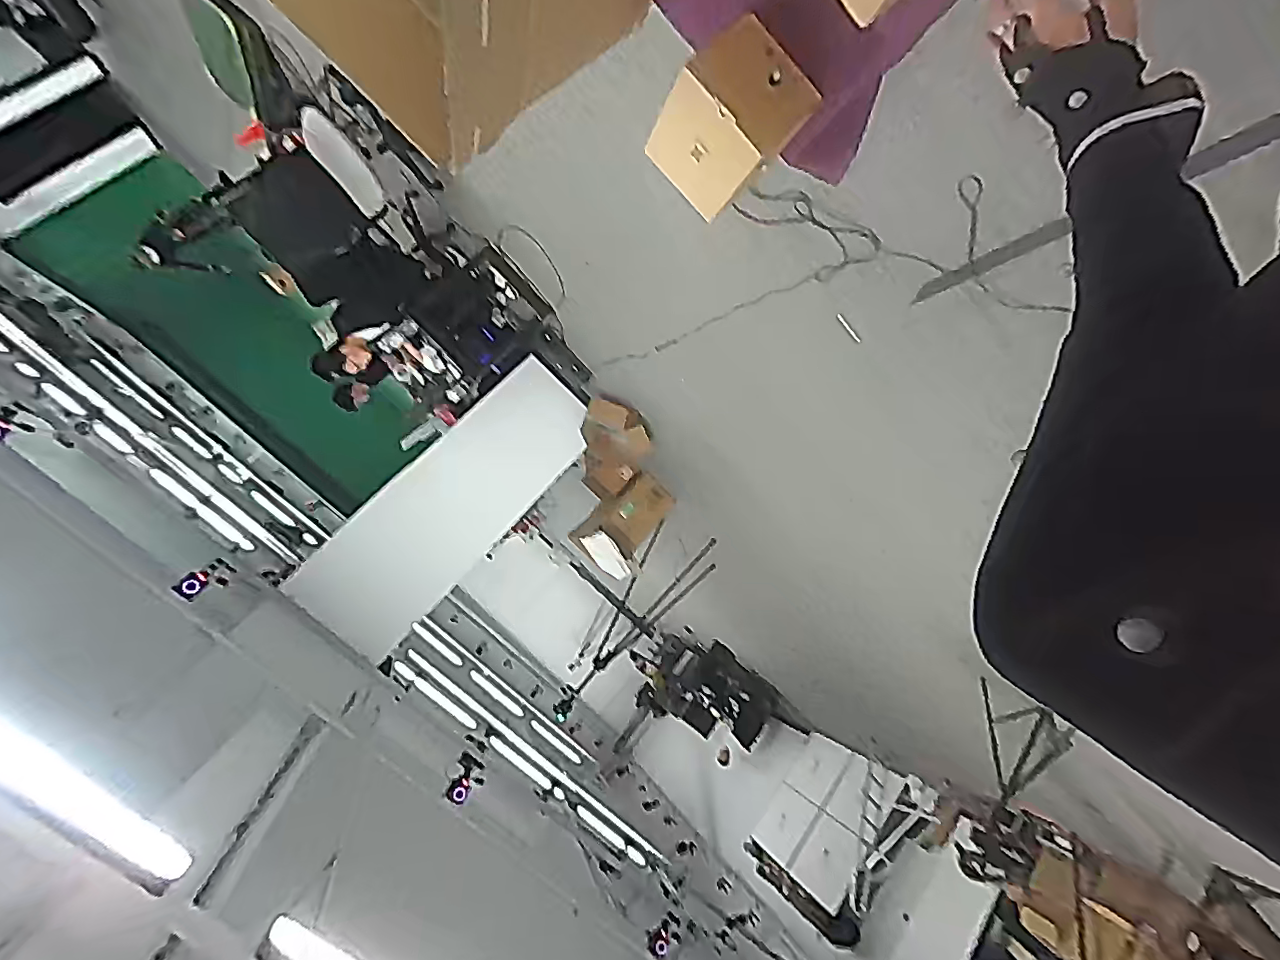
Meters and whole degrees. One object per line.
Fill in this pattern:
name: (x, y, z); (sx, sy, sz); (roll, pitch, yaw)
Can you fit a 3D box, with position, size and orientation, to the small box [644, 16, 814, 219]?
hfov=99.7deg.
small box: (0.140, -0.570, 0.865); (0.168, 0.176, 0.179); (44, 161, -8)
